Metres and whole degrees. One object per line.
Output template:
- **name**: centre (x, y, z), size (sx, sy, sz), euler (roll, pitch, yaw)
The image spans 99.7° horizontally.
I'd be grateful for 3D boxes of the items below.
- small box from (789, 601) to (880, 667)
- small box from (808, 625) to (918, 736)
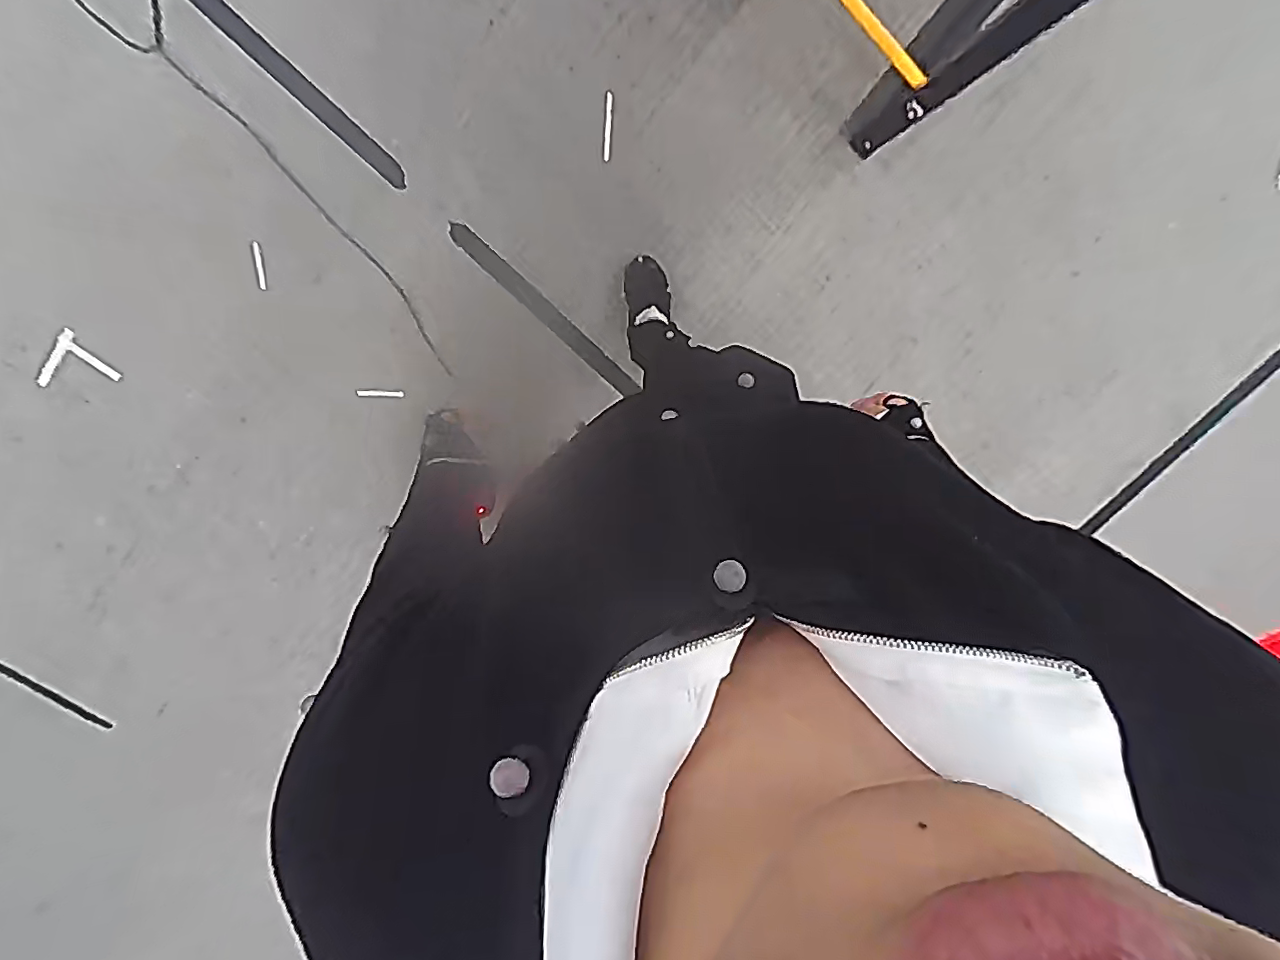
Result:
- **small box**: centre (0.564, 0.477, 1.573), size (0.179, 0.176, 0.168), euler (38, 101, -10)
- **small box**: centre (0.571, 0.515, 1.411), size (0.168, 0.176, 0.179), euler (38, 102, -11)
